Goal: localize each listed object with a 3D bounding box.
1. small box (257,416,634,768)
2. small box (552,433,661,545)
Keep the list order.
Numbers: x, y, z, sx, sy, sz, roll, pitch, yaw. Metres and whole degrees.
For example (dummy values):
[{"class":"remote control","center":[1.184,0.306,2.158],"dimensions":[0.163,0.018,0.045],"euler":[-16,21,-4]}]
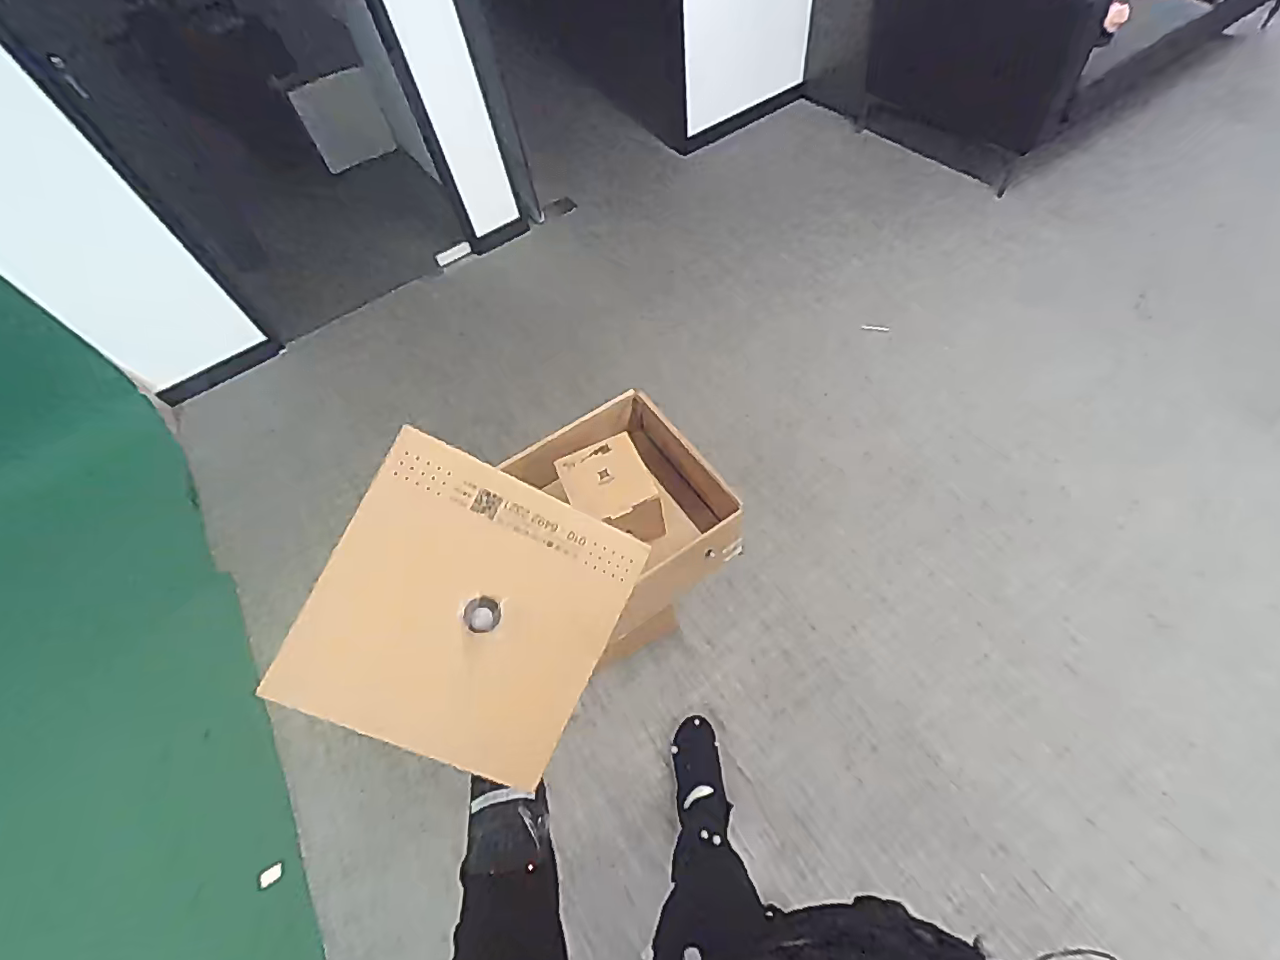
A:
[{"class":"small box","center":[-0.123,0.064,0.395],"dimensions":[0.168,0.179,0.176],"euler":[29,83,-14]},{"class":"small box","center":[-0.064,0.040,1.125],"dimensions":[0.168,0.176,0.179],"euler":[-22,58,-7]}]
